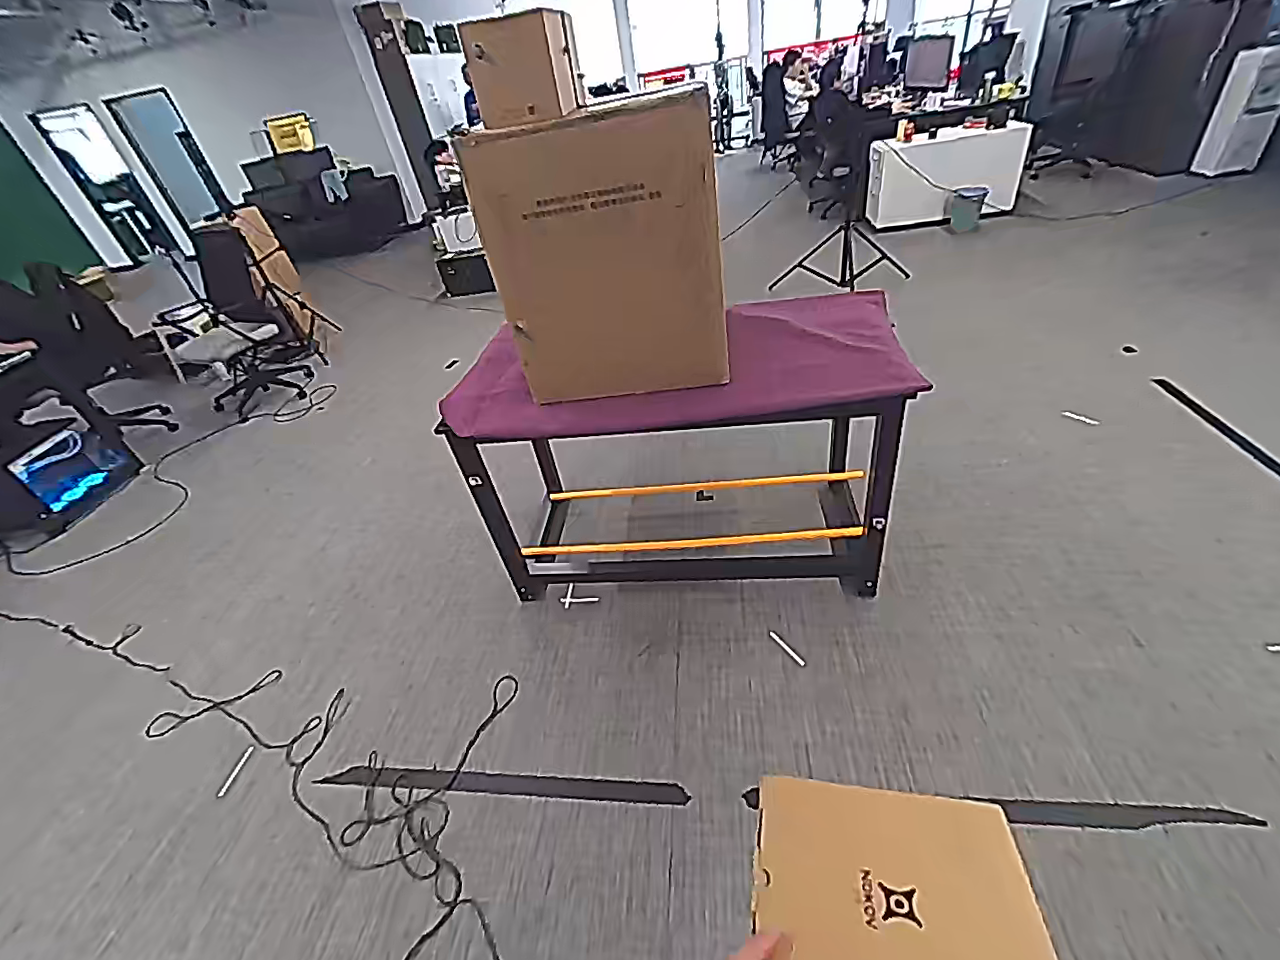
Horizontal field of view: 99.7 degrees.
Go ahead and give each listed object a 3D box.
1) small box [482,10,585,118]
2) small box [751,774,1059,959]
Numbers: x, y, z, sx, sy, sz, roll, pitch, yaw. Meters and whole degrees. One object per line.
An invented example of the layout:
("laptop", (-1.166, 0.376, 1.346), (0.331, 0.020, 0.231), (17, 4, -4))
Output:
("small box", (-0.232, -0.939, 1.229), (0.179, 0.176, 0.168), (-5, 38, 6))
("small box", (0.172, 0.345, 0.376), (0.179, 0.176, 0.168), (-2, 22, 16))
